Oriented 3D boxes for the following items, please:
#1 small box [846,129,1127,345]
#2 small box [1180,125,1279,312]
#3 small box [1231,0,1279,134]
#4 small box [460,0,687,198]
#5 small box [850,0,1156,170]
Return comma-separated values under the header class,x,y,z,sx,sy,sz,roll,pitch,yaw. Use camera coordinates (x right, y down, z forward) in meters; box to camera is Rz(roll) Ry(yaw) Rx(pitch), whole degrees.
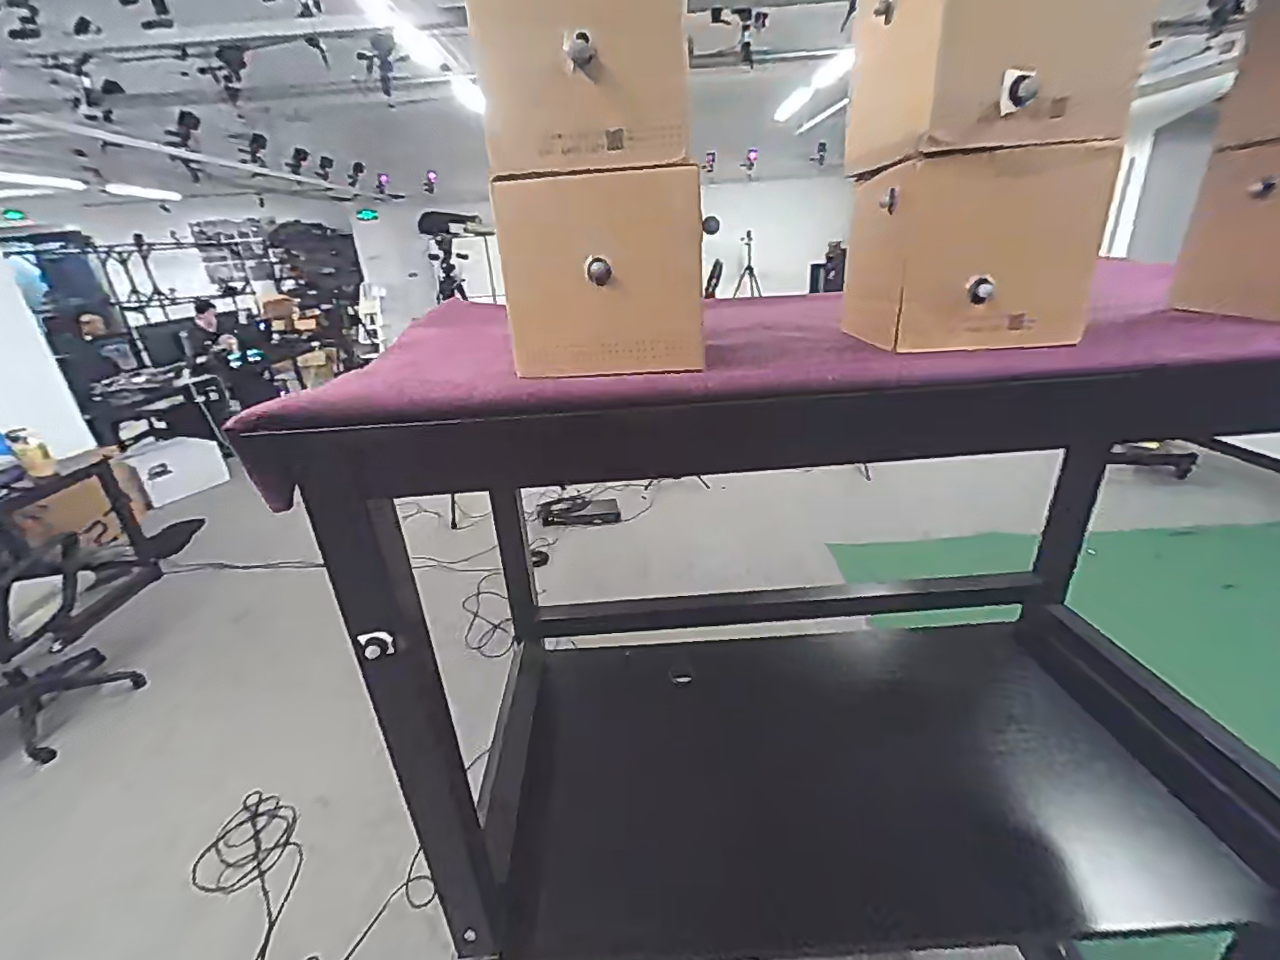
class,x,y,z,sx,sy,sz,roll,pitch,yaw
small box,0.316,-0.231,0.542,0.168,0.176,0.179,-3,23,5
small box,0.701,-0.258,0.527,0.168,0.176,0.179,-3,24,6
small box,0.689,-0.410,0.463,0.168,0.176,0.179,-3,24,6
small box,-0.049,-0.359,0.483,0.168,0.176,0.179,-4,23,1
small box,0.298,-0.378,0.475,0.168,0.176,0.179,-6,24,0
